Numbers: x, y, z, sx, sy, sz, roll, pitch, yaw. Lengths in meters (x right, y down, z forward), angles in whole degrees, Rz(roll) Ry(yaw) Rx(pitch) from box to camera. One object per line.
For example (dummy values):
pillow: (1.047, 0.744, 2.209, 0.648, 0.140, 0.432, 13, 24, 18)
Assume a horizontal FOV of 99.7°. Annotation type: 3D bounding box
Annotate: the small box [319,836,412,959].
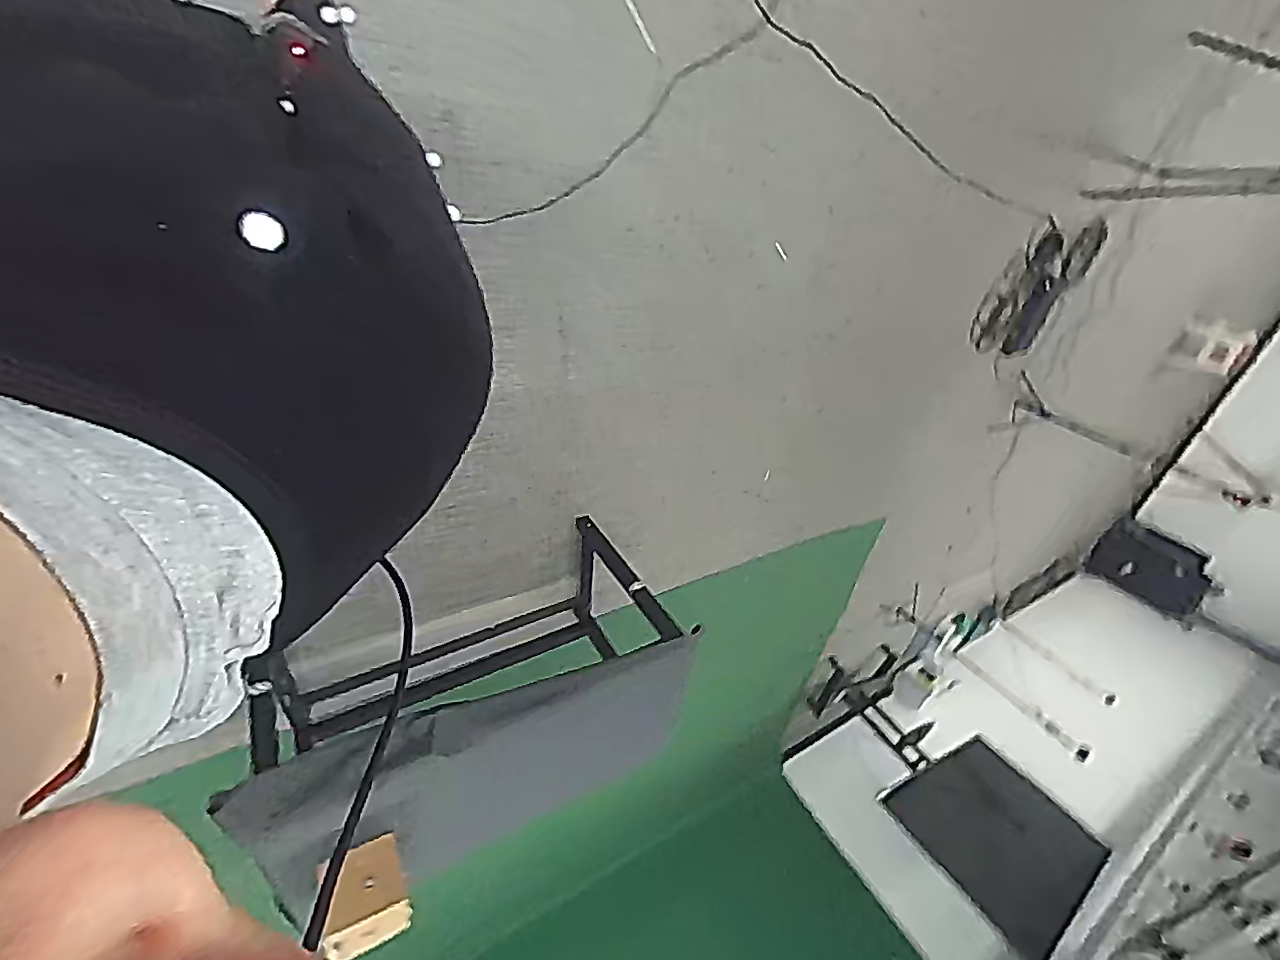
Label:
small box: (-0.681, 1.034, 1.342, 0.179, 0.176, 0.168, -9, 126, -34)
